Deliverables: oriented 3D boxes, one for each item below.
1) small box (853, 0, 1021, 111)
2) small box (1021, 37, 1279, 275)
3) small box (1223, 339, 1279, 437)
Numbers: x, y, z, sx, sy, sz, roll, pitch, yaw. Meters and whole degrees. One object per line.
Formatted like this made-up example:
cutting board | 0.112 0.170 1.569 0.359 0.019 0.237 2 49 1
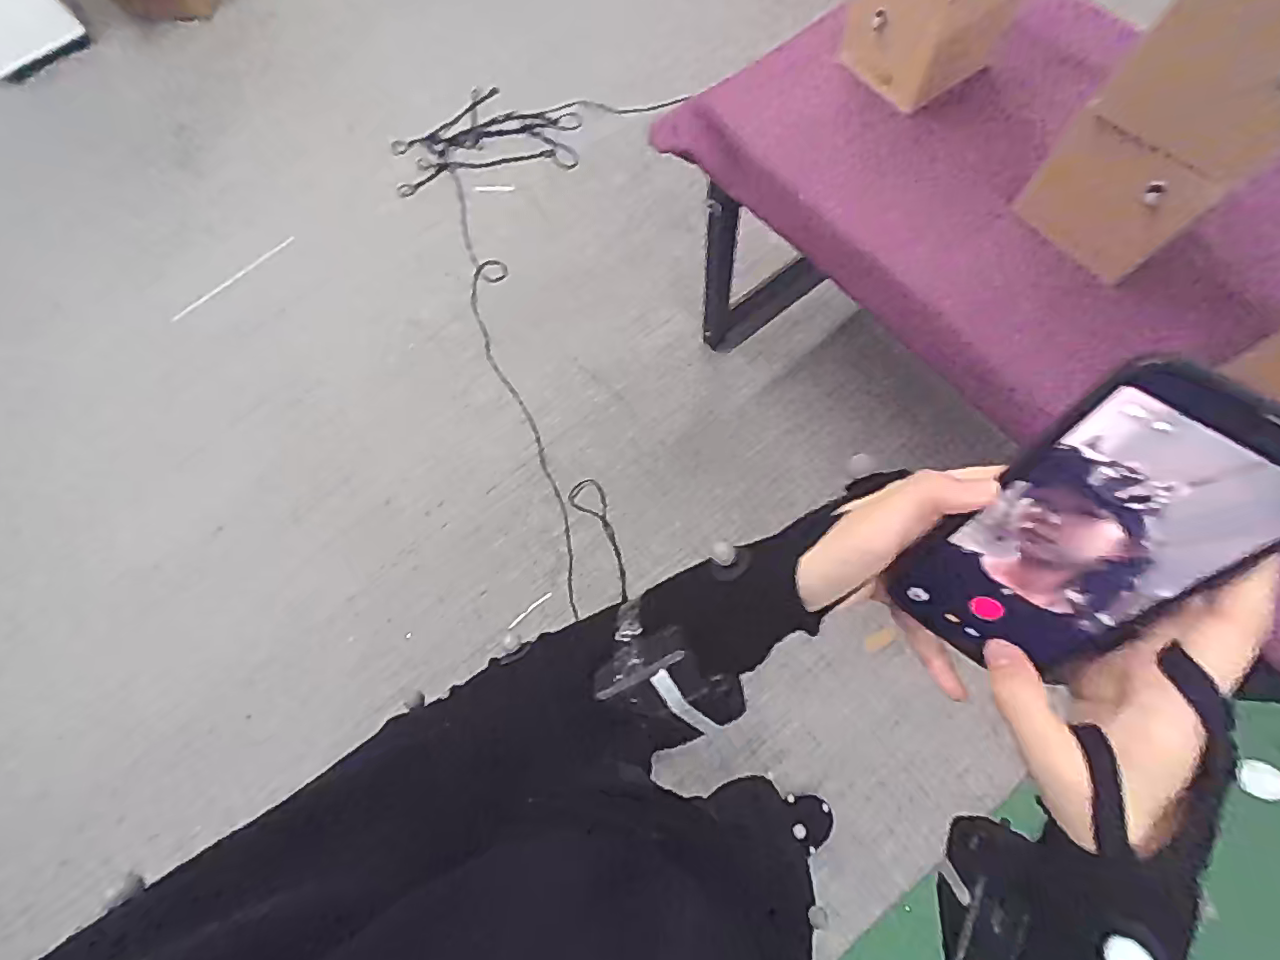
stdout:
small box | 0.443 -0.702 0.804 0.179 0.176 0.168 -34 73 -6
small box | 0.649 -0.391 0.686 0.168 0.176 0.179 -35 73 -6
small box | 0.833 -0.122 0.587 0.168 0.176 0.179 -29 72 -4
